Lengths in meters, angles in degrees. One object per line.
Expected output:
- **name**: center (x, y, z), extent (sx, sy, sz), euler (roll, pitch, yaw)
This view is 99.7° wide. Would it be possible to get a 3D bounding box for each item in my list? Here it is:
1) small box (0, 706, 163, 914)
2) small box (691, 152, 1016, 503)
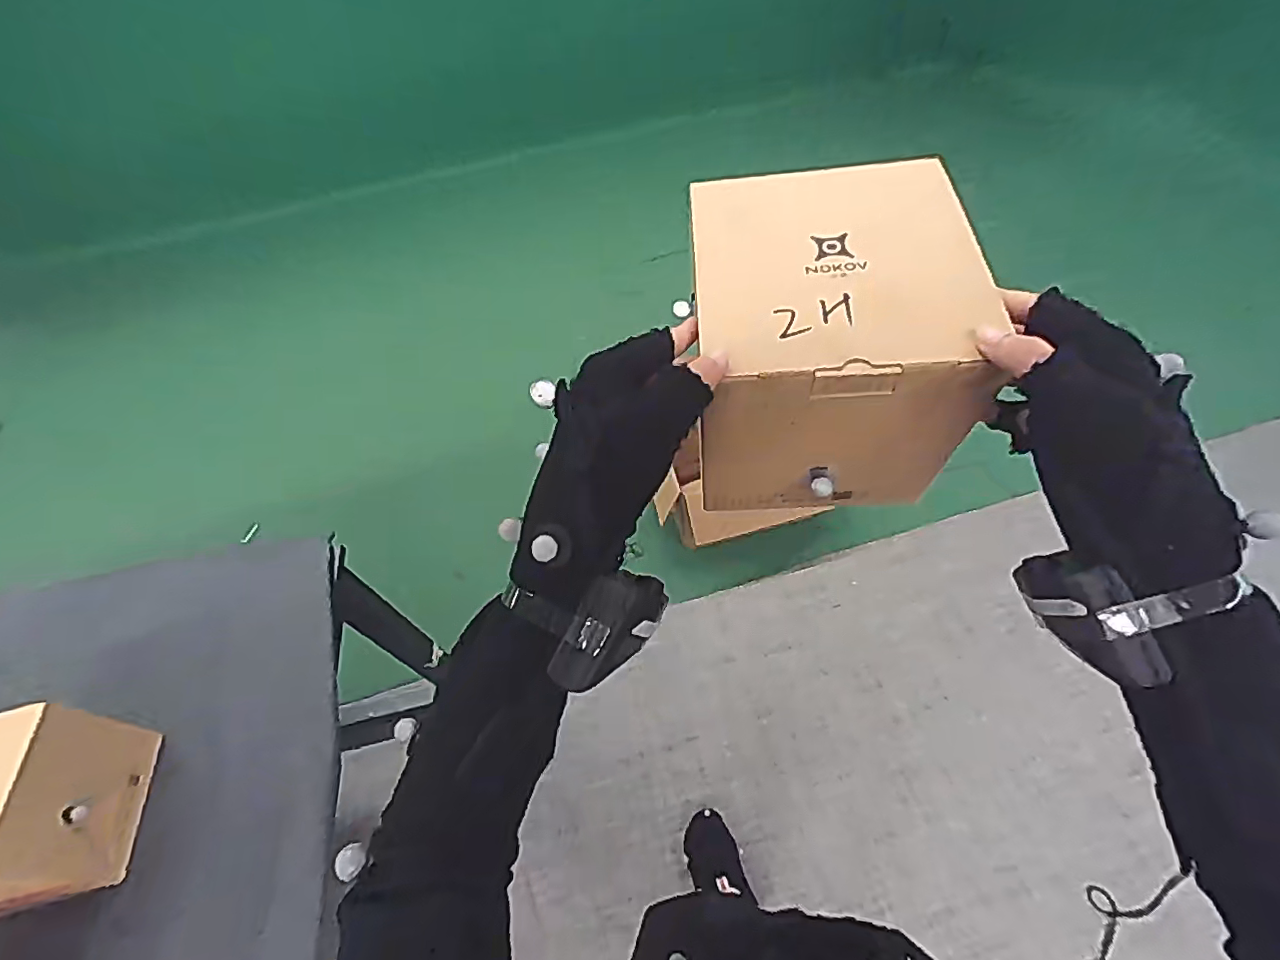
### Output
- **small box**: center (-0.703, 0.376, 0.608), extent (0.179, 0.176, 0.168), euler (-15, 53, -2)
- **small box**: center (0.121, -0.098, 0.392), extent (0.168, 0.176, 0.179), euler (-3, 61, 6)
